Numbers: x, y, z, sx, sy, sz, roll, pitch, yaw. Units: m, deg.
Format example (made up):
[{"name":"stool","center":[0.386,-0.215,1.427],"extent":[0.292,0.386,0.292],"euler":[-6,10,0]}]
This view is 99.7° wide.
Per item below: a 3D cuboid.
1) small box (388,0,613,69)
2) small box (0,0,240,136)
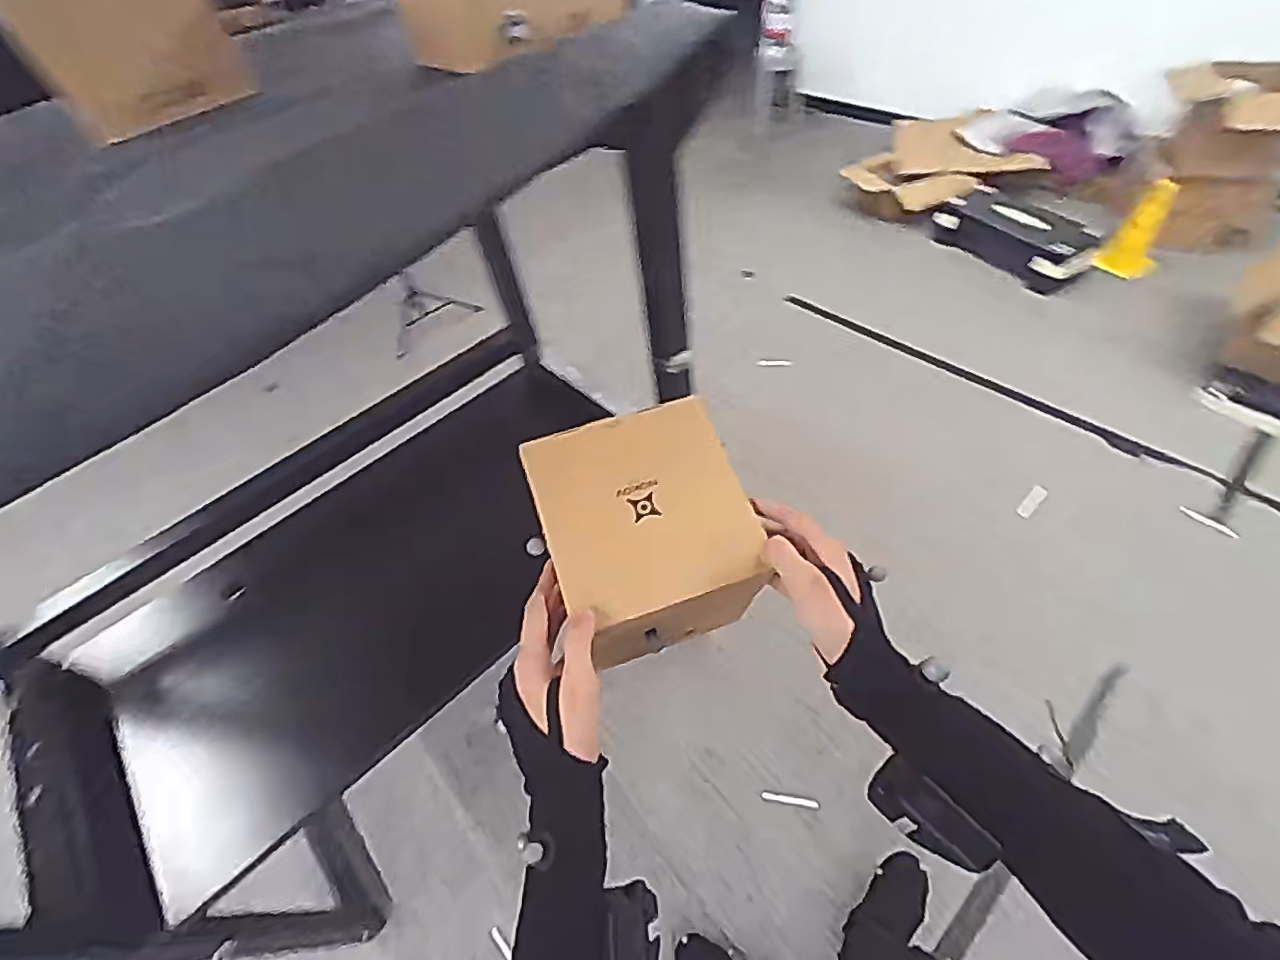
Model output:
[{"name":"small box","center":[-0.146,-0.507,0.499],"extent":[0.168,0.176,0.179],"euler":[-38,53,-19]},{"name":"small box","center":[-0.554,-0.471,0.538],"extent":[0.168,0.176,0.179],"euler":[-41,57,-21]}]
